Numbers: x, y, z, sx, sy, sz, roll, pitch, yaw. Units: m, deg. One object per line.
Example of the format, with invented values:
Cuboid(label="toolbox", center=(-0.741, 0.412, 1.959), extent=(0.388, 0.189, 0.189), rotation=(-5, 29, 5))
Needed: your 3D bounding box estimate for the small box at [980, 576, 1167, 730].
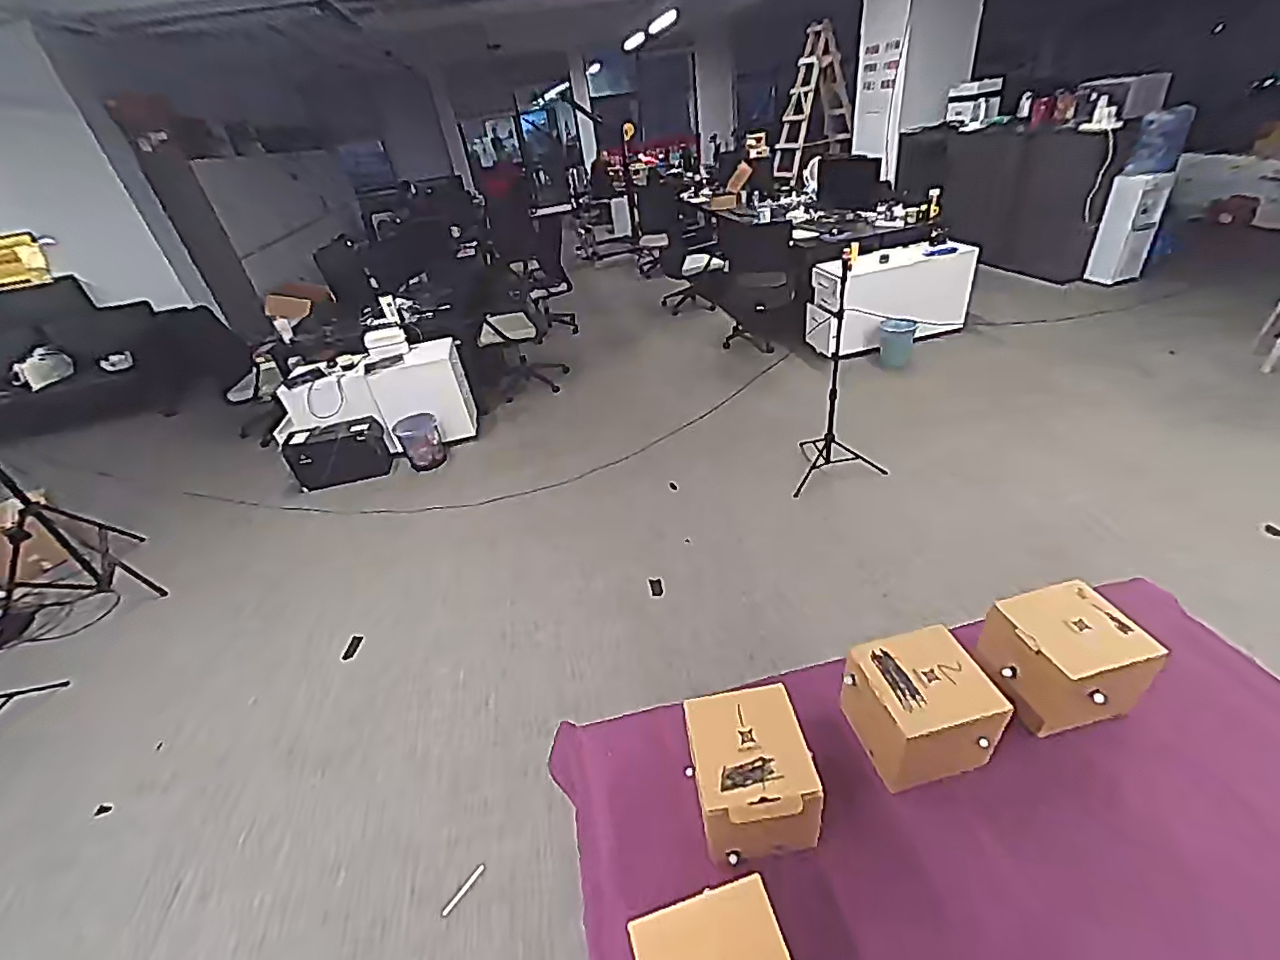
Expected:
Cuboid(label="small box", center=(0.721, 0.298, 0.929), extent=(0.179, 0.176, 0.168), rotation=(-14, 37, -5))

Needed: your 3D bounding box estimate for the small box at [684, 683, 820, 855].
Cuboid(label="small box", center=(0.168, 0.452, 0.840), extent=(0.168, 0.176, 0.179), rotation=(-10, 34, -1))

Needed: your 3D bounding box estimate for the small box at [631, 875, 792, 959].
Cuboid(label="small box", center=(0.094, 0.600, 0.621), extent=(0.168, 0.176, 0.179), rotation=(-15, 45, -9))
